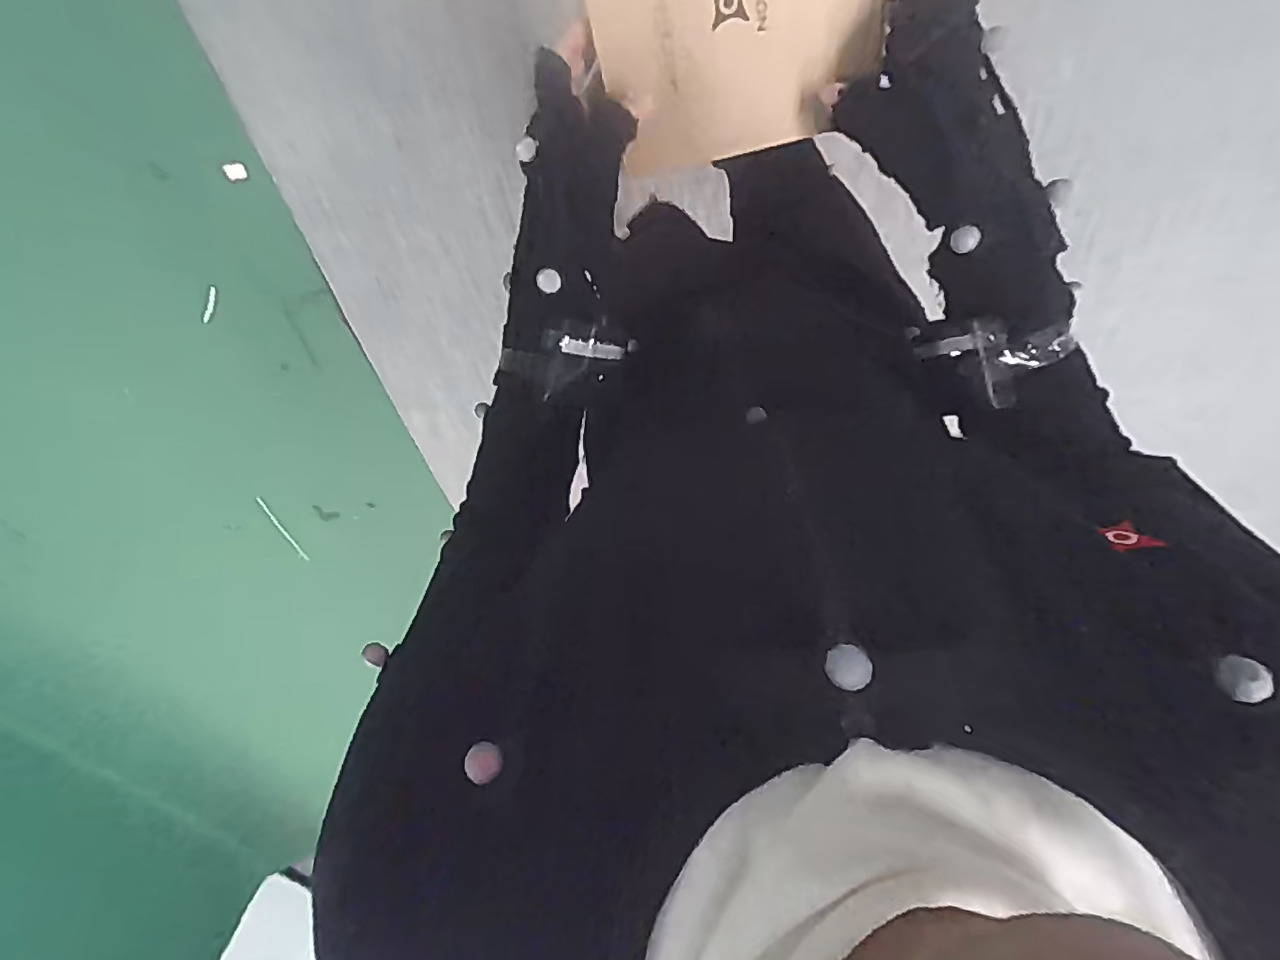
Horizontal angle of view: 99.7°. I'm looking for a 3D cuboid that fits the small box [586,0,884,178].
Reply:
[{"bbox_3d":[0.060,-0.347,0.379,0.179,0.176,0.168,-7,136,13],"label":"small box"}]
